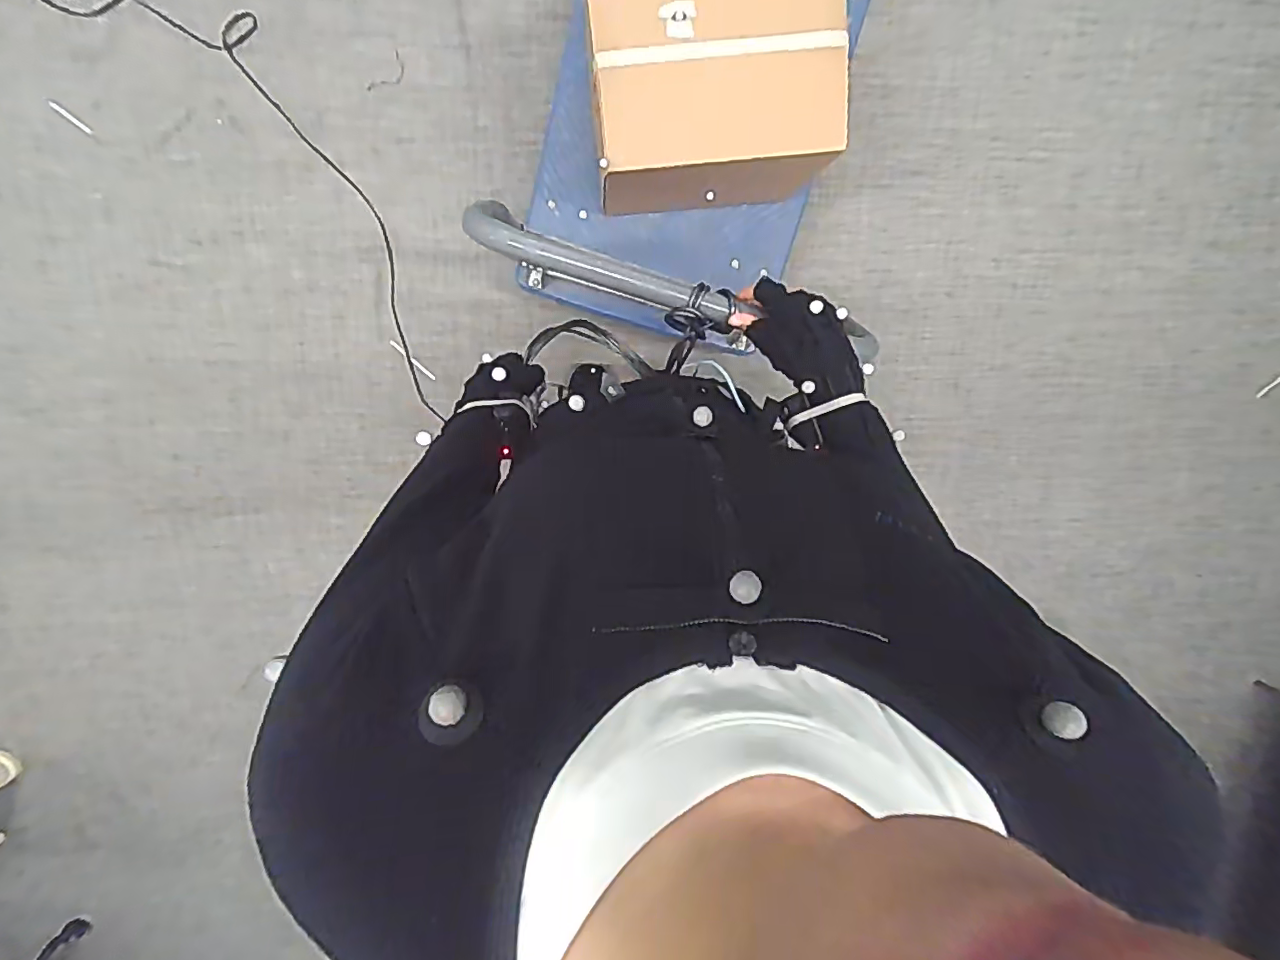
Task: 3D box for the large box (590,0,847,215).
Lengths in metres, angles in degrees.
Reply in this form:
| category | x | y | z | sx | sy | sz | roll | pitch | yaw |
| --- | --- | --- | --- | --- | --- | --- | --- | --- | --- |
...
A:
| category | x | y | z | sx | sy | sz | roll | pitch | yaw |
| --- | --- | --- | --- | --- | --- | --- | --- | --- | --- |
| large box | 0.129 | -0.713 | 1.011 | 0.408 | 0.320 | 0.320 | -7 | 103 | -2 |
